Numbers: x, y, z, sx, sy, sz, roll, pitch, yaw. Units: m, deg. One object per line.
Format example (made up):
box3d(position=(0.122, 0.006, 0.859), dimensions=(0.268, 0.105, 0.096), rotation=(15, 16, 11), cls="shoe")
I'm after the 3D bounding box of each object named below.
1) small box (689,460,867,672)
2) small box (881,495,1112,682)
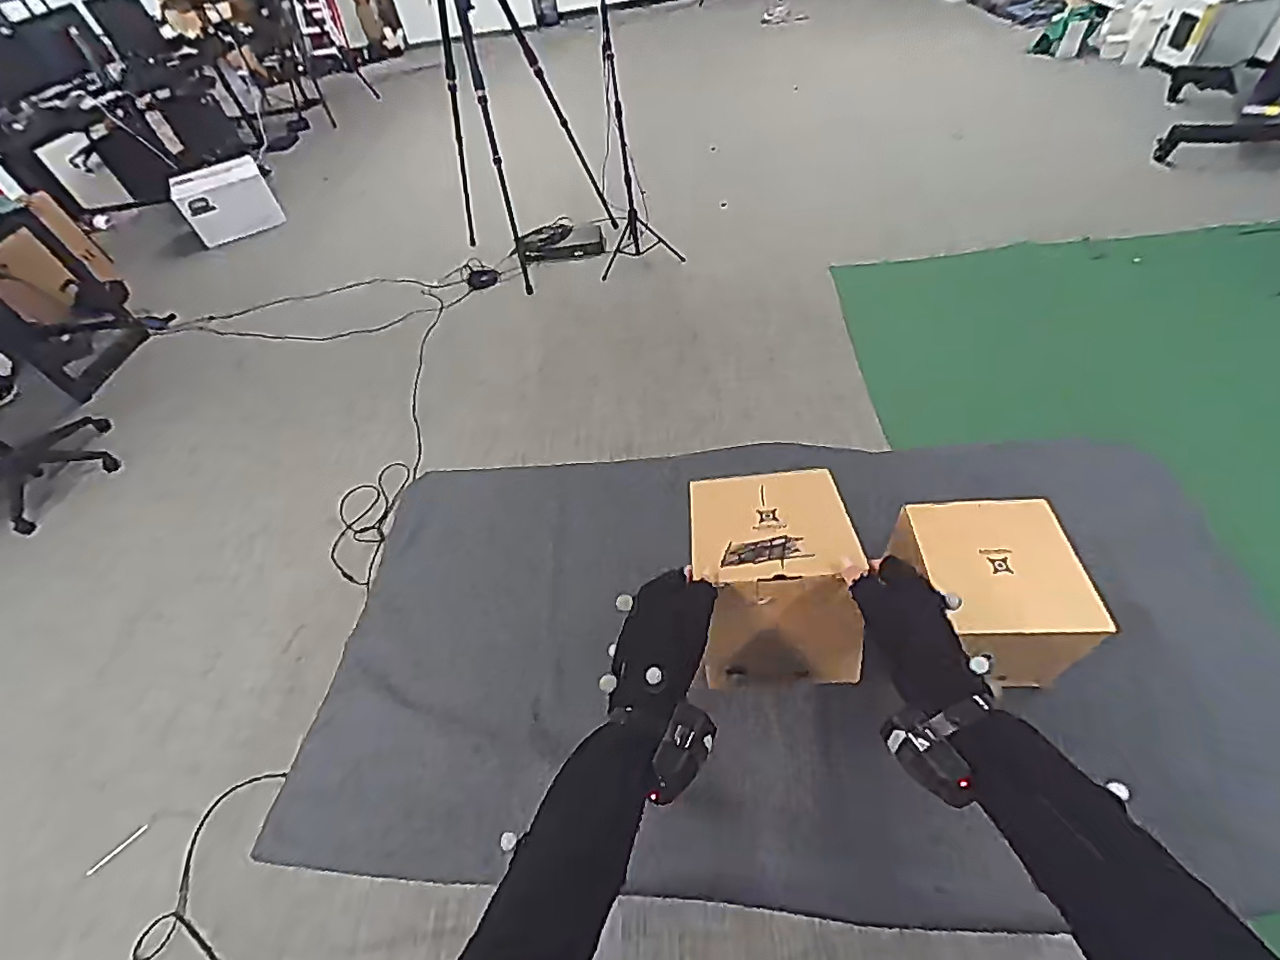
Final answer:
box3d(position=(0.146, 0.101, 0.612), dimensions=(0.168, 0.176, 0.179), rotation=(-6, 35, 8), cls="small box")
box3d(position=(0.418, 0.141, 0.674), dimensions=(0.168, 0.176, 0.179), rotation=(-3, 49, 8), cls="small box")
